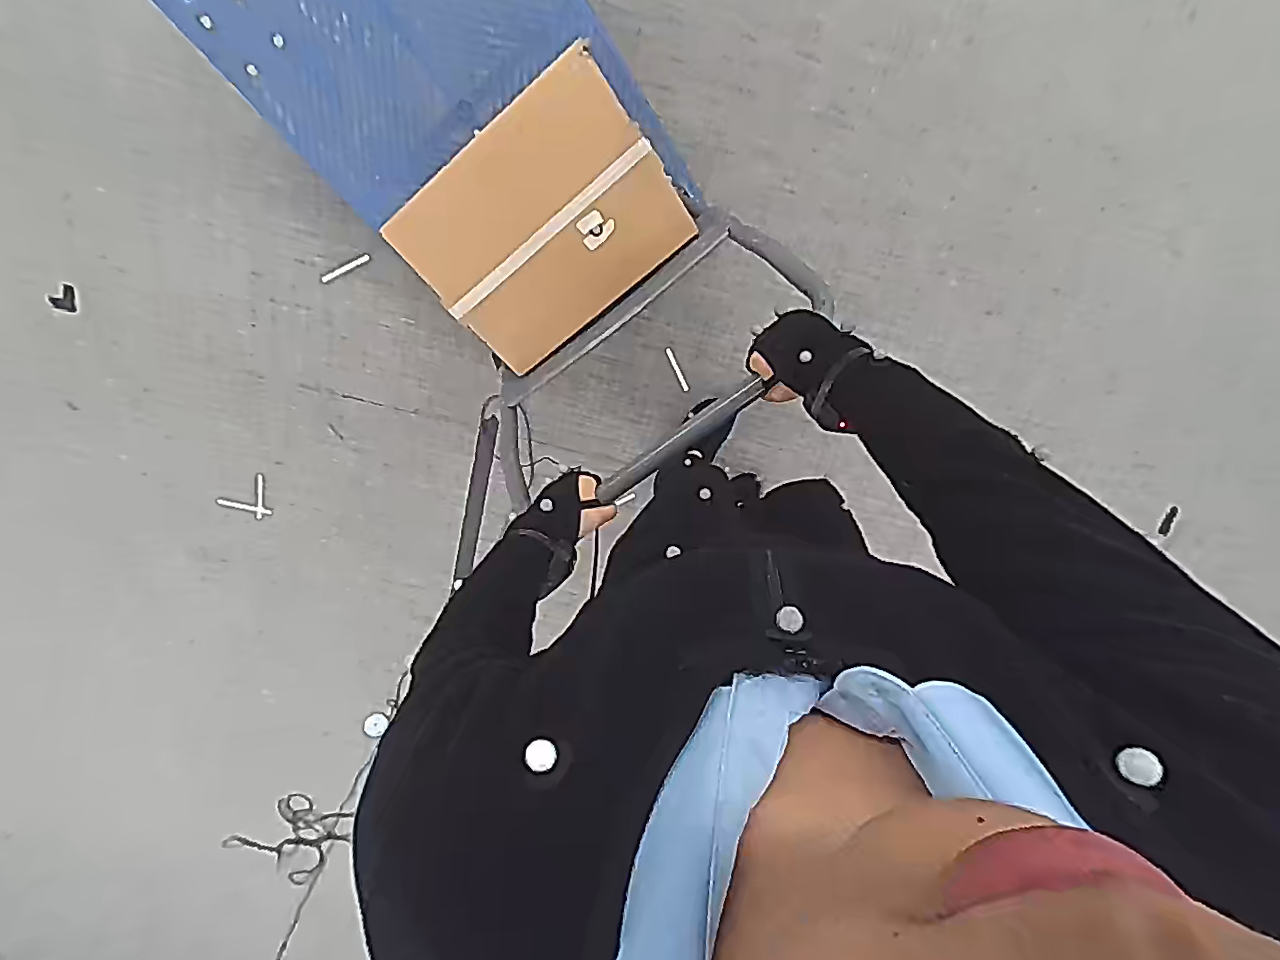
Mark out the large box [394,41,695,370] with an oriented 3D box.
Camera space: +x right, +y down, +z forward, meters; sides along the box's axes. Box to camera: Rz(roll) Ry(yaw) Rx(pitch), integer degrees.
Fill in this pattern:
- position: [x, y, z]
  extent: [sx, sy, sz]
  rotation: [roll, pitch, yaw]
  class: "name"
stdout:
- position: [-0.173, -0.486, 1.006]
  extent: [0.408, 0.320, 0.320]
  rotation: [-37, 122, 11]
  class: "large box"
